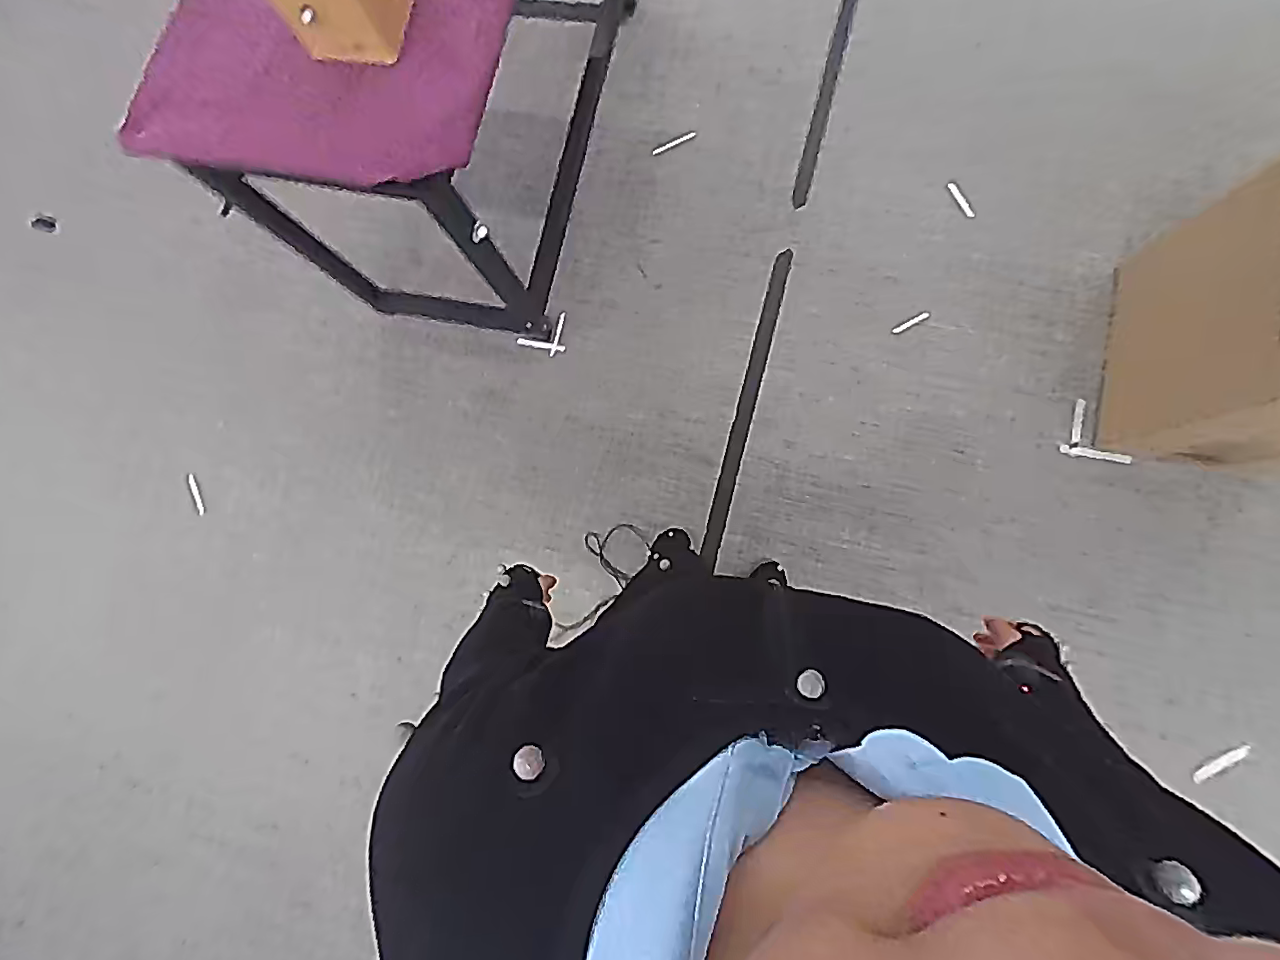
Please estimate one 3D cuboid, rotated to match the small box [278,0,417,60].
[{"bbox_3d":[-0.498,-0.849,0.902,0.168,0.176,0.179,10,83,8],"label":"small box"}]
